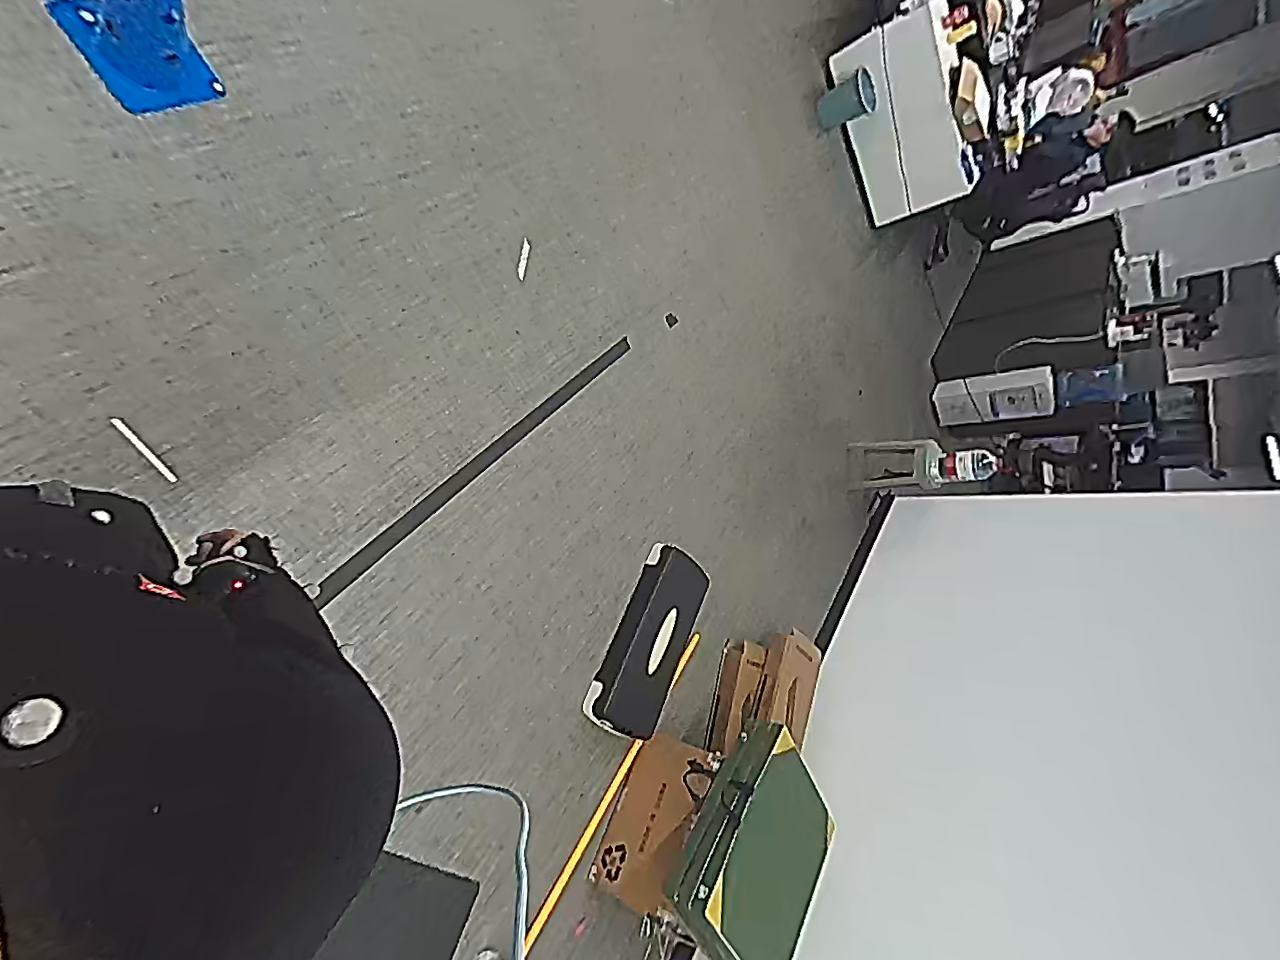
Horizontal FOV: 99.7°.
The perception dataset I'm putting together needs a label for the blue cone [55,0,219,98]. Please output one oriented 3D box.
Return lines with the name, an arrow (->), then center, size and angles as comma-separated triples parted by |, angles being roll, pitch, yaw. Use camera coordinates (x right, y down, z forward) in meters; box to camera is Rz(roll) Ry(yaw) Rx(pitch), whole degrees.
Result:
blue cone -> -0.859, -0.863, 0.943 | 0.192, 0.380, 0.193 | -47, 120, -37
